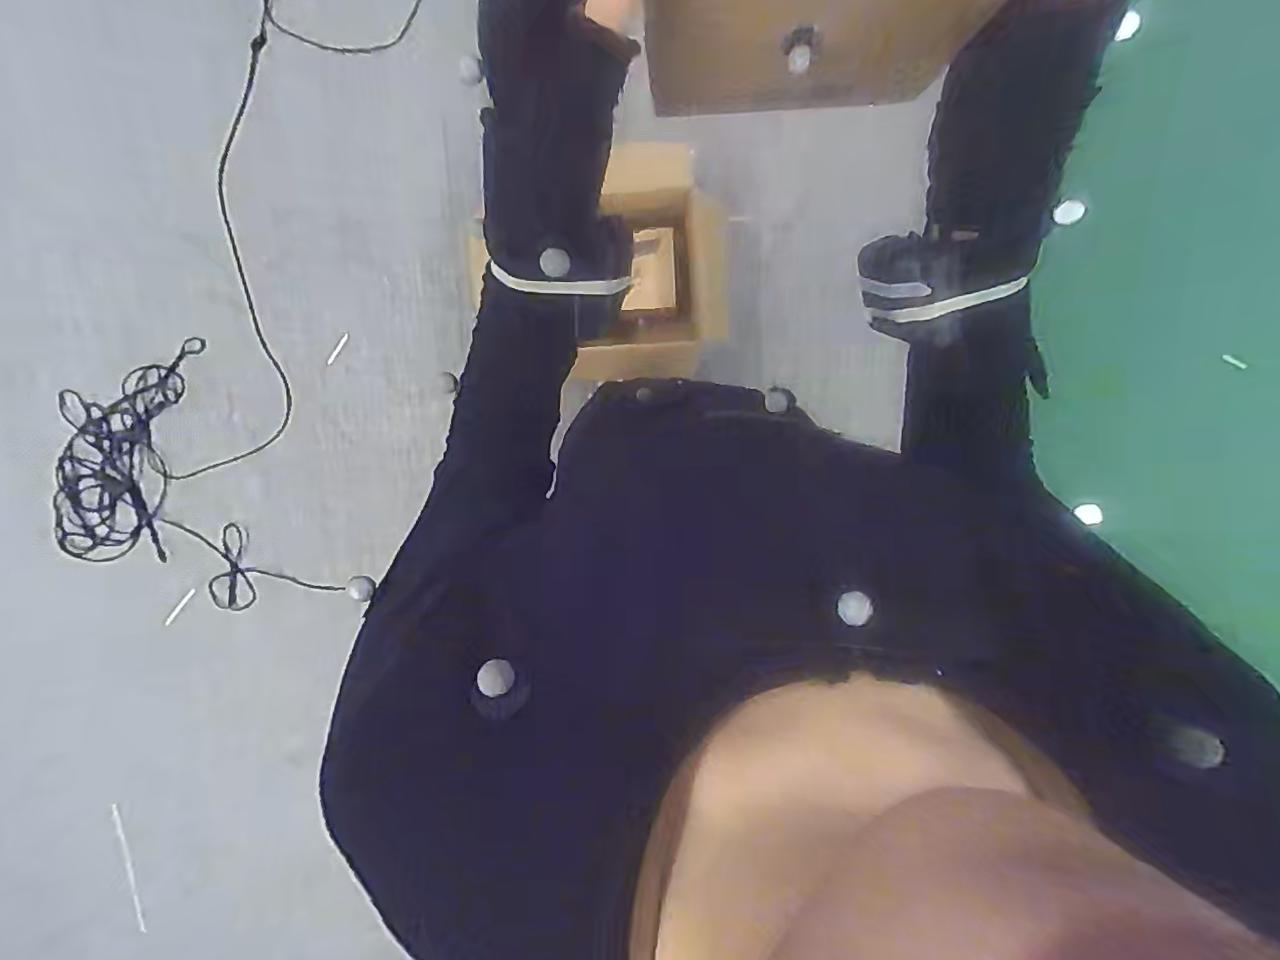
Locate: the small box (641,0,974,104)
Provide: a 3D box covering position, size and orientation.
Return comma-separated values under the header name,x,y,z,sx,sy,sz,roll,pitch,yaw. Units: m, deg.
name,x,y,z,sx,sy,sz,roll,pitch,yaw
small box,0.082,-0.307,0.256,0.168,0.176,0.179,-1,102,3
